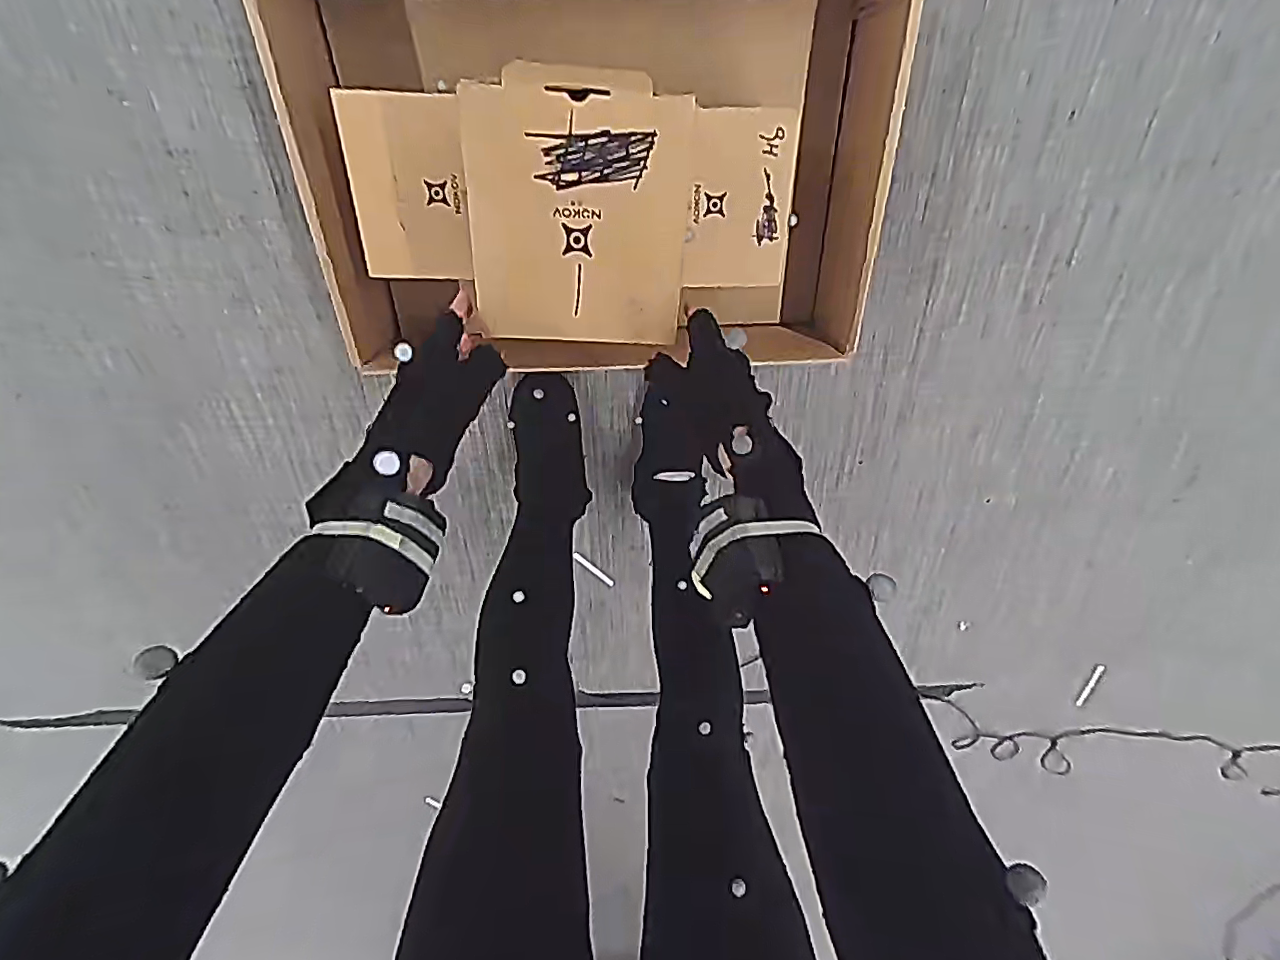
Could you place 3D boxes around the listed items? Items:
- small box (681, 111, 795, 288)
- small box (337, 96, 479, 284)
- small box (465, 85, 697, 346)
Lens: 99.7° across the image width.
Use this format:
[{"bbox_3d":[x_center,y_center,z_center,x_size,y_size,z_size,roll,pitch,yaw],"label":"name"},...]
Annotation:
[{"bbox_3d":[0.064,-0.324,0.630,0.179,0.176,0.168,-1,121,0],"label":"small box"},{"bbox_3d":[-0.202,-0.324,0.613,0.179,0.176,0.168,0,120,-3],"label":"small box"},{"bbox_3d":[-0.049,-0.232,0.486,0.168,0.176,0.179,2,120,-3],"label":"small box"}]
